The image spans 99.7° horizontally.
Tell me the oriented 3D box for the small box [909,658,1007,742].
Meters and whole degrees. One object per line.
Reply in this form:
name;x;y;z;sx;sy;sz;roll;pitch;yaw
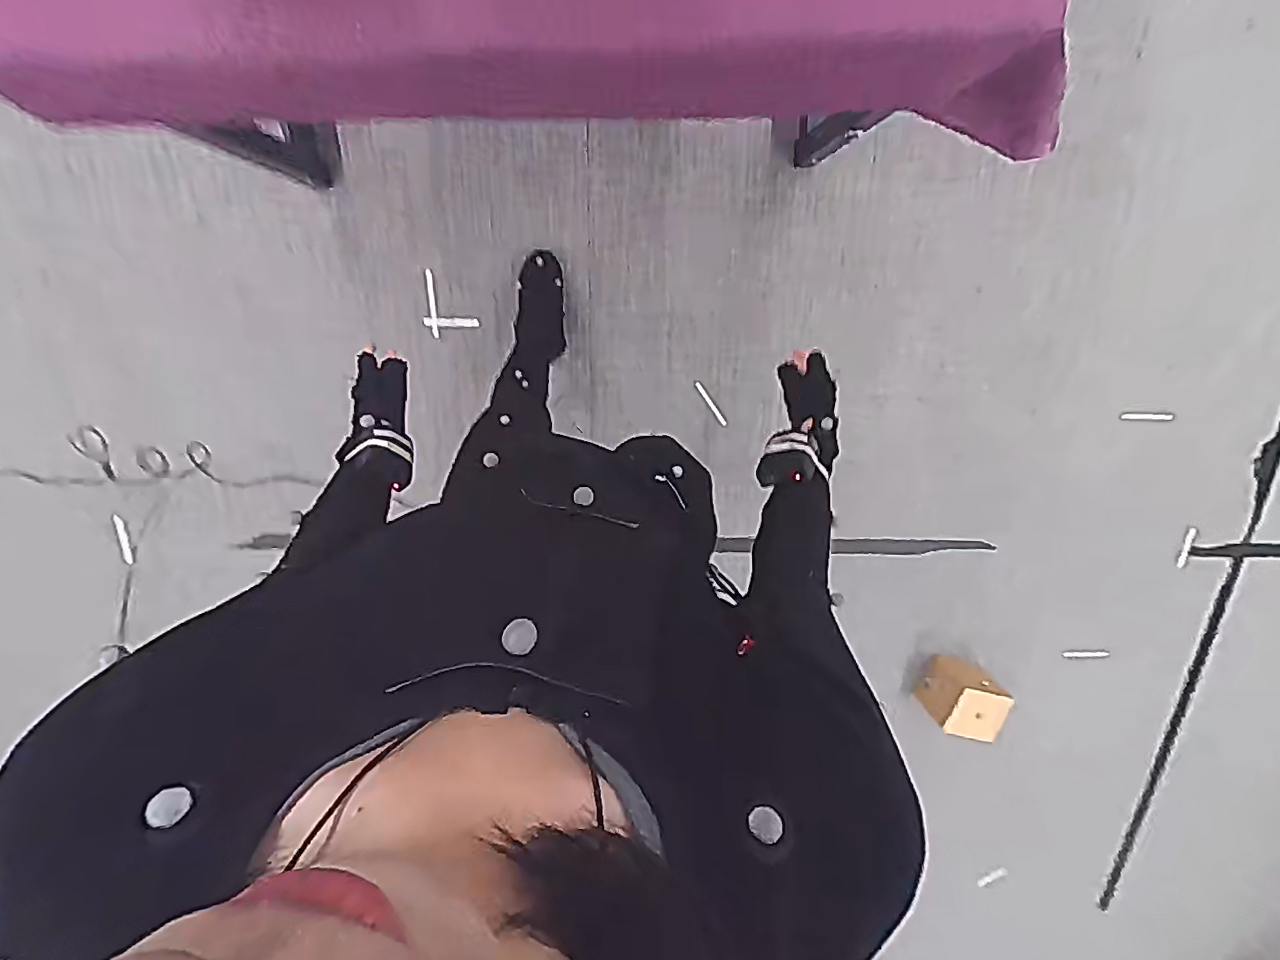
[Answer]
small box;1.003;0.695;1.720;0.179;0.176;0.168;16;104;-8
